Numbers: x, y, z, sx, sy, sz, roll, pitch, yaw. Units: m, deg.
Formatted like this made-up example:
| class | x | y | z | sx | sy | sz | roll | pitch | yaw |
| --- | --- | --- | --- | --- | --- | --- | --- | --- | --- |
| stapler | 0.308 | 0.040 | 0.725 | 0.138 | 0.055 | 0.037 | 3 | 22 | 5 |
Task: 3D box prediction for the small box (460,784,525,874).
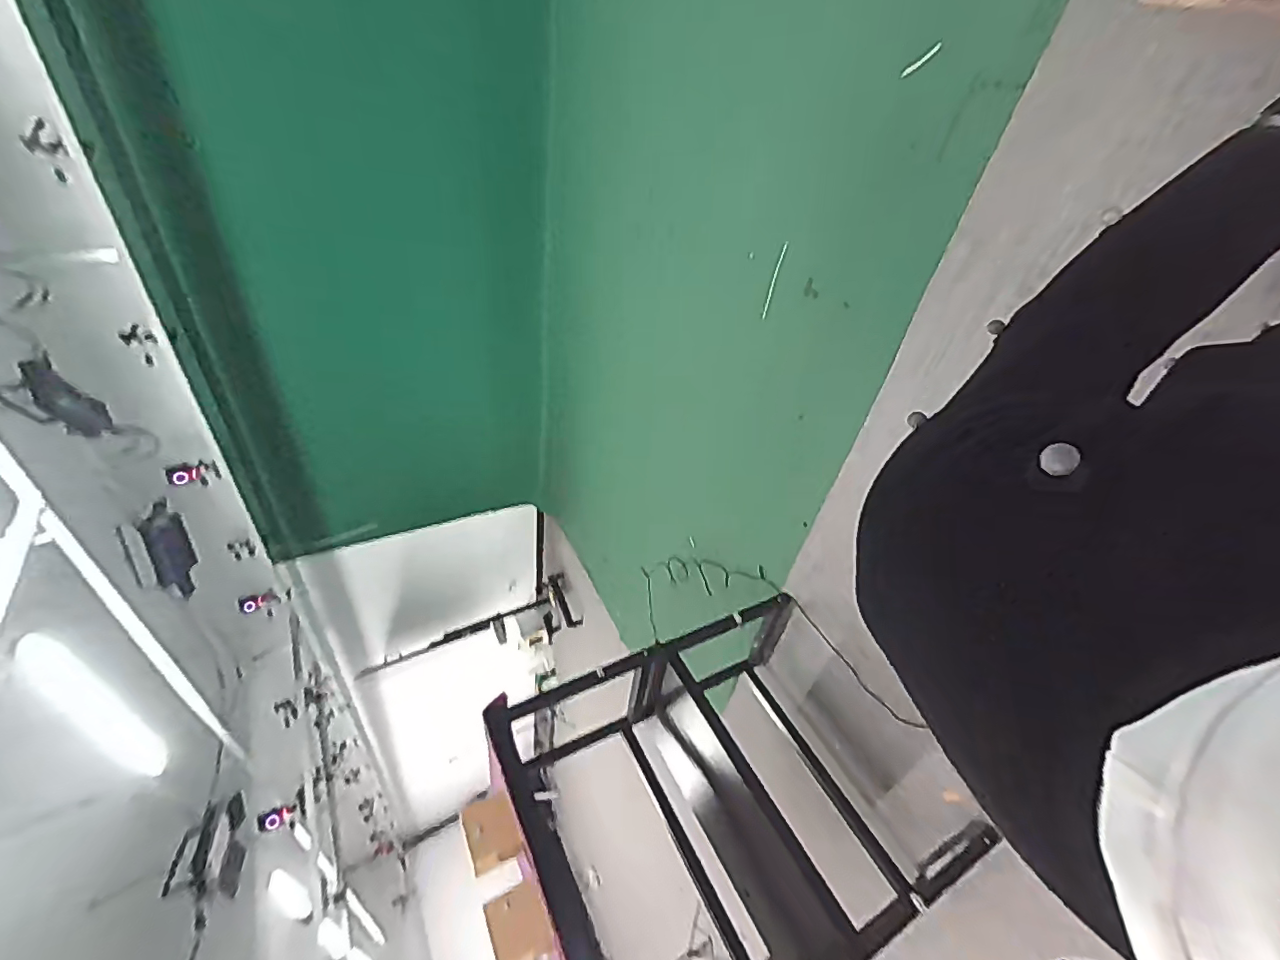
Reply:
| class | x | y | z | sx | sy | sz | roll | pitch | yaw |
| --- | --- | --- | --- | --- | --- | --- | --- | --- | --- |
| small box | -0.489 | 1.157 | 1.798 | 0.179 | 0.176 | 0.168 | 53 | 144 | 38 |
